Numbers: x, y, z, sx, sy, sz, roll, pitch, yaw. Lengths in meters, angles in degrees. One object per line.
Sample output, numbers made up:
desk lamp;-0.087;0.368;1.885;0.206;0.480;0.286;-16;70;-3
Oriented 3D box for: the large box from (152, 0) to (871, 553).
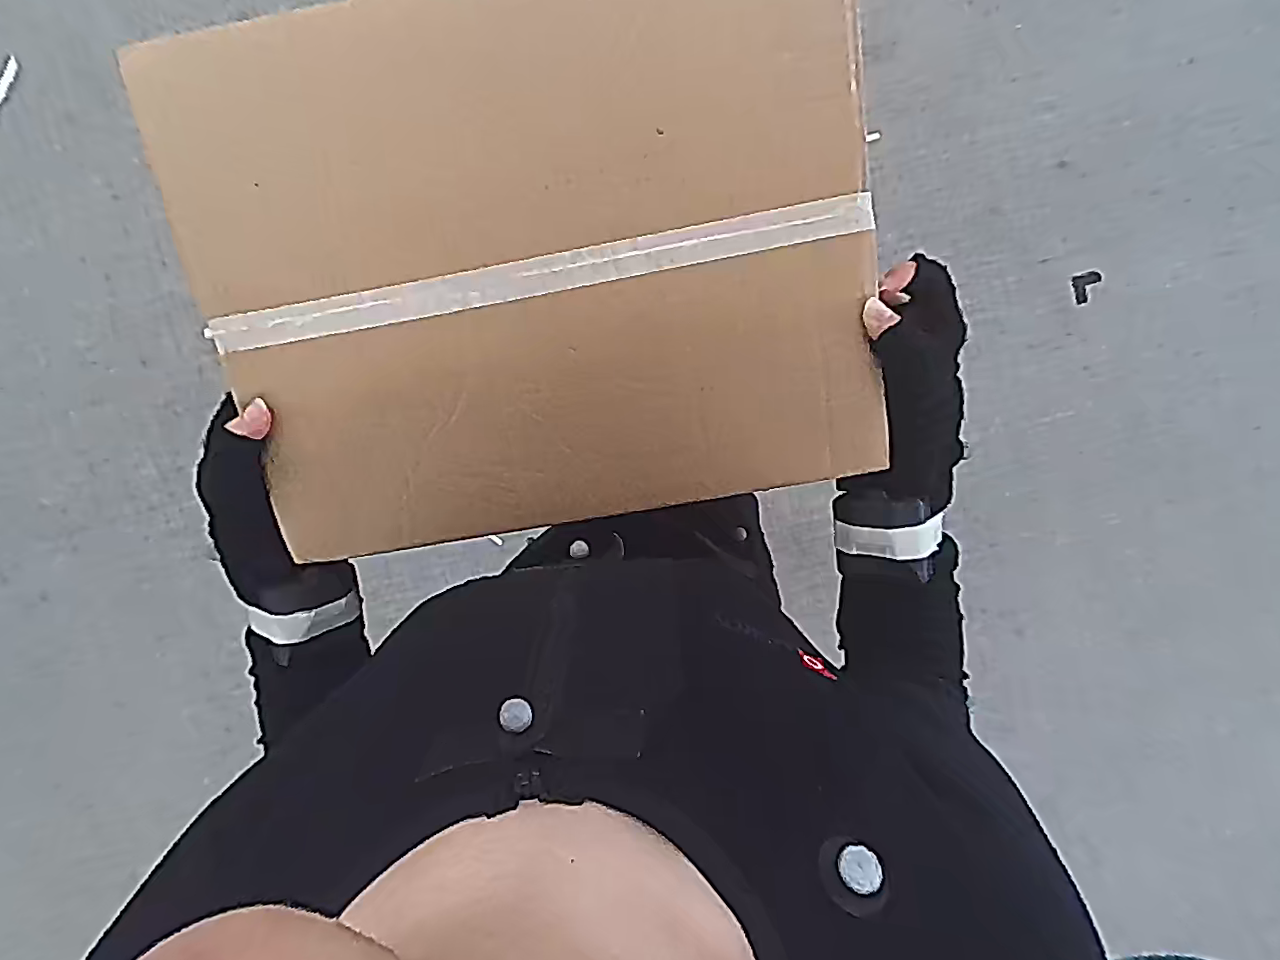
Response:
large box;-0.062;-0.164;0.483;0.408;0.320;0.320;-9;103;3
